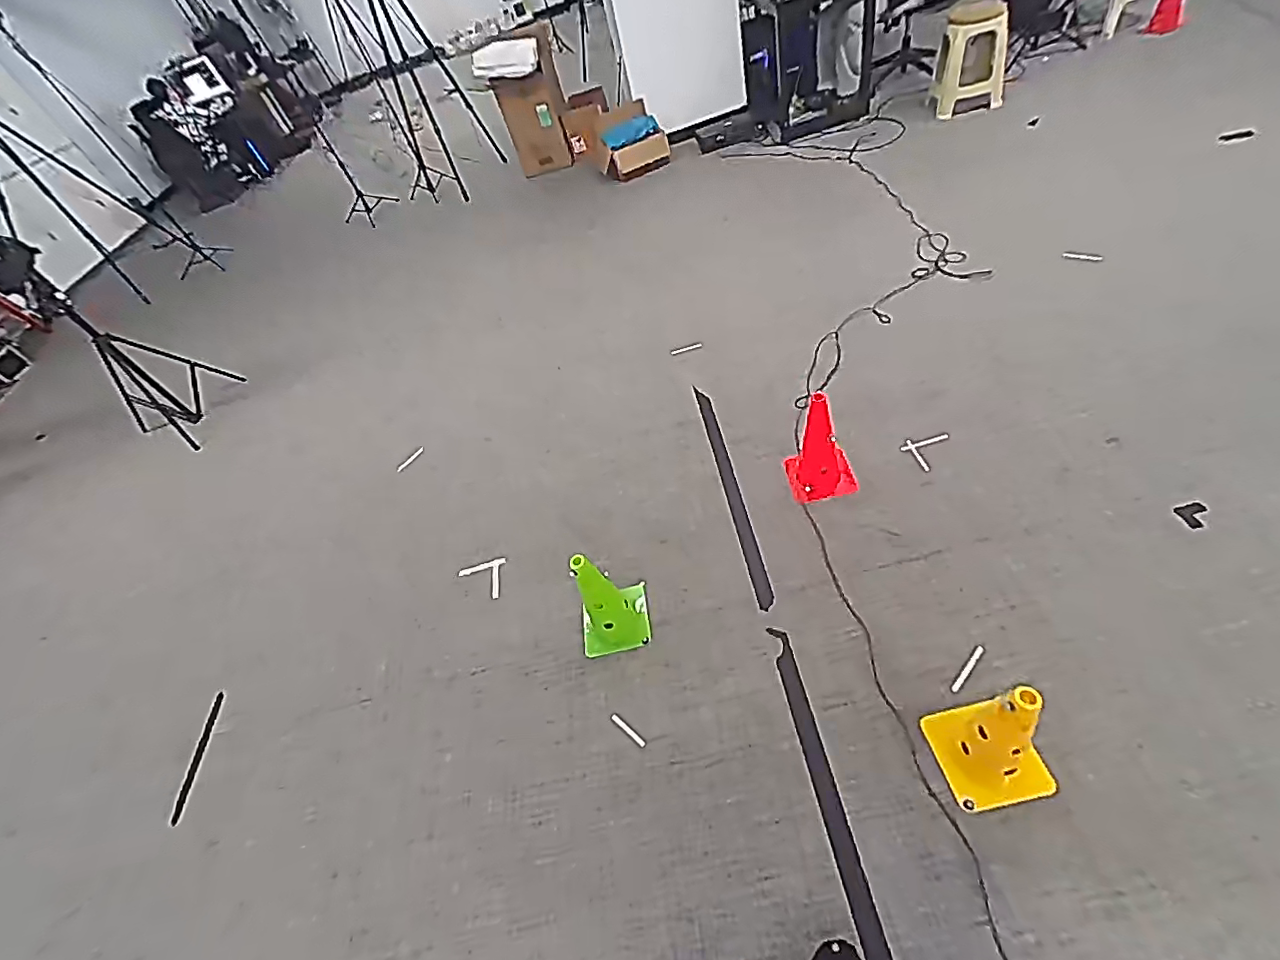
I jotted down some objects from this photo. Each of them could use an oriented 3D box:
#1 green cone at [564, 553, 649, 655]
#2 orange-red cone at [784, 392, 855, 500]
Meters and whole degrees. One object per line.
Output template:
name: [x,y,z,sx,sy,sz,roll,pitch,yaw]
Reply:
green cone: [-0.123,0.309,1.506,0.202,0.368,0.200,-16,47,7]
orange-red cone: [0.547,-0.128,1.659,0.199,0.360,0.198,-11,49,8]
